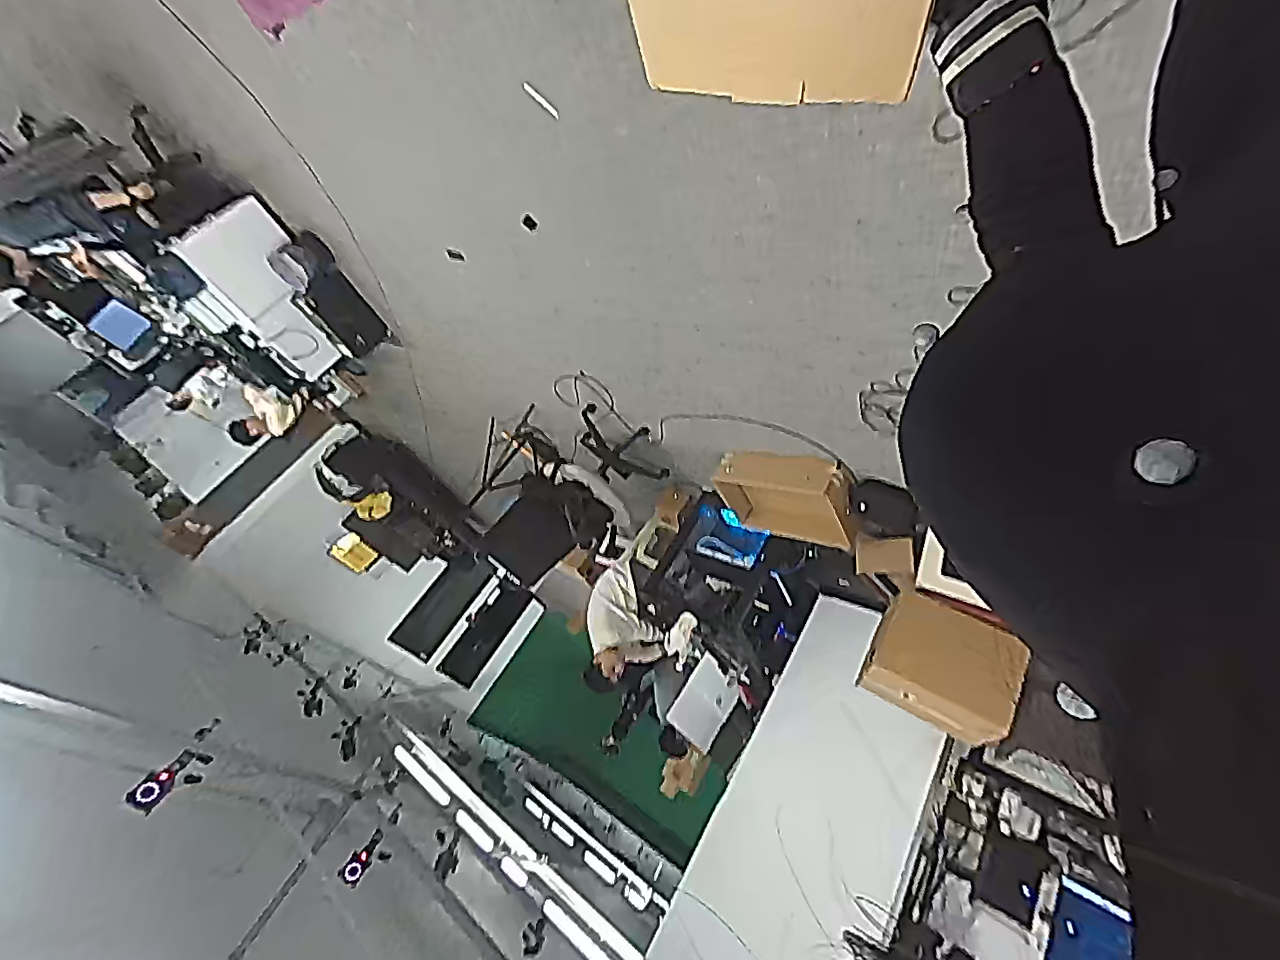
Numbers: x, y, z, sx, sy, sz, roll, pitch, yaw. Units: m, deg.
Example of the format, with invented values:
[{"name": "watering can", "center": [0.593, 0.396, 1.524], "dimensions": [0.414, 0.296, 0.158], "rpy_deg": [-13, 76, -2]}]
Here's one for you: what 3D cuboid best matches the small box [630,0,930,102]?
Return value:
[{"name": "small box", "center": [0.080, -0.336, 0.271], "dimensions": [0.168, 0.179, 0.176], "rpy_deg": [16, 173, 17]}]
